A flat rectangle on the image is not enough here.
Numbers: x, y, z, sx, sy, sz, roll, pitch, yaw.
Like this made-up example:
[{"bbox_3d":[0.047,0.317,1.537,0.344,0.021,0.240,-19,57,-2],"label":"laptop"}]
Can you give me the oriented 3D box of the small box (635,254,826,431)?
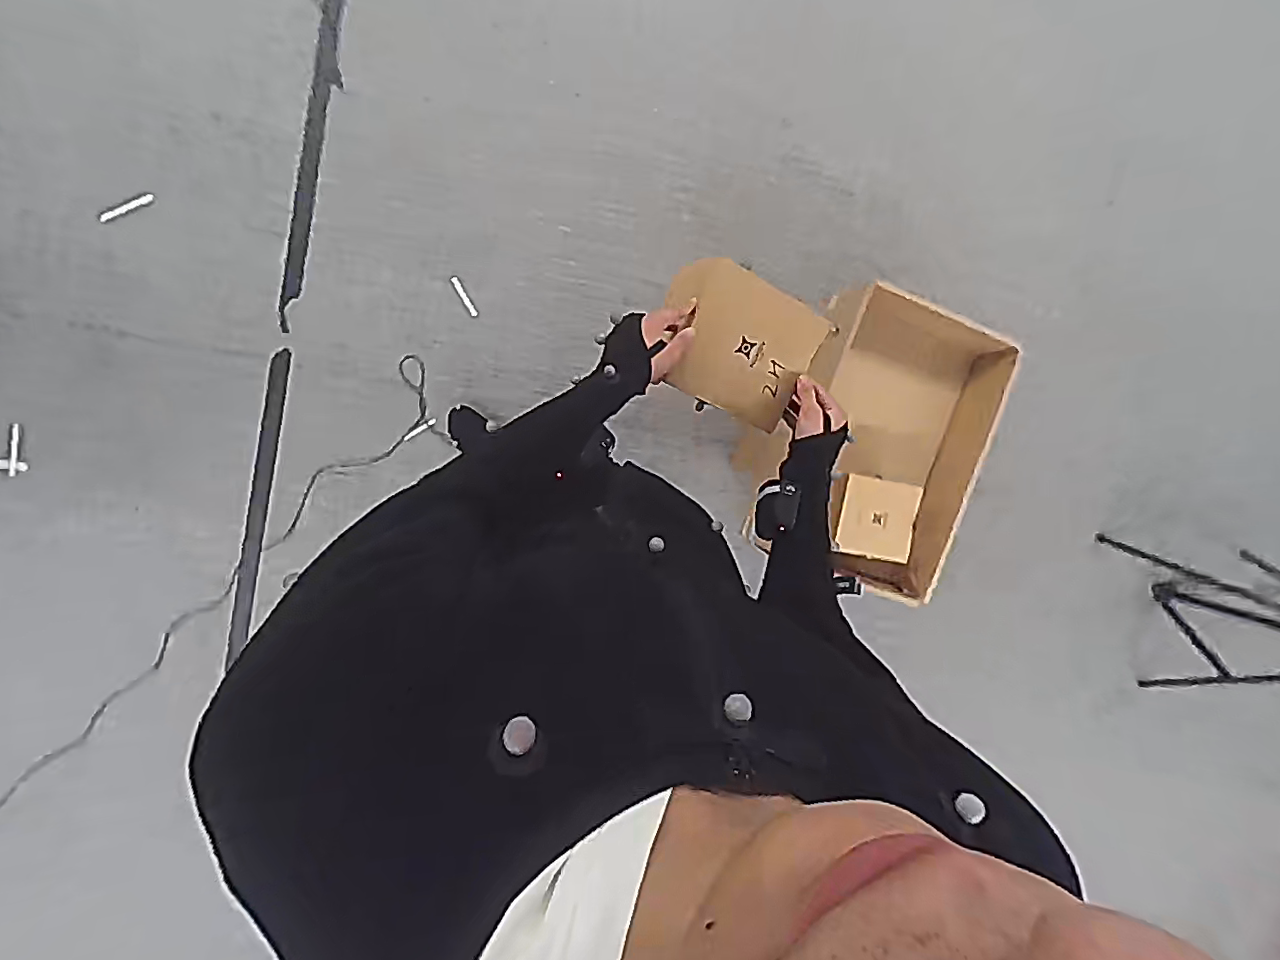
[{"bbox_3d":[0.111,-0.189,0.750,0.179,0.176,0.168,22,102,-19],"label":"small box"}]
